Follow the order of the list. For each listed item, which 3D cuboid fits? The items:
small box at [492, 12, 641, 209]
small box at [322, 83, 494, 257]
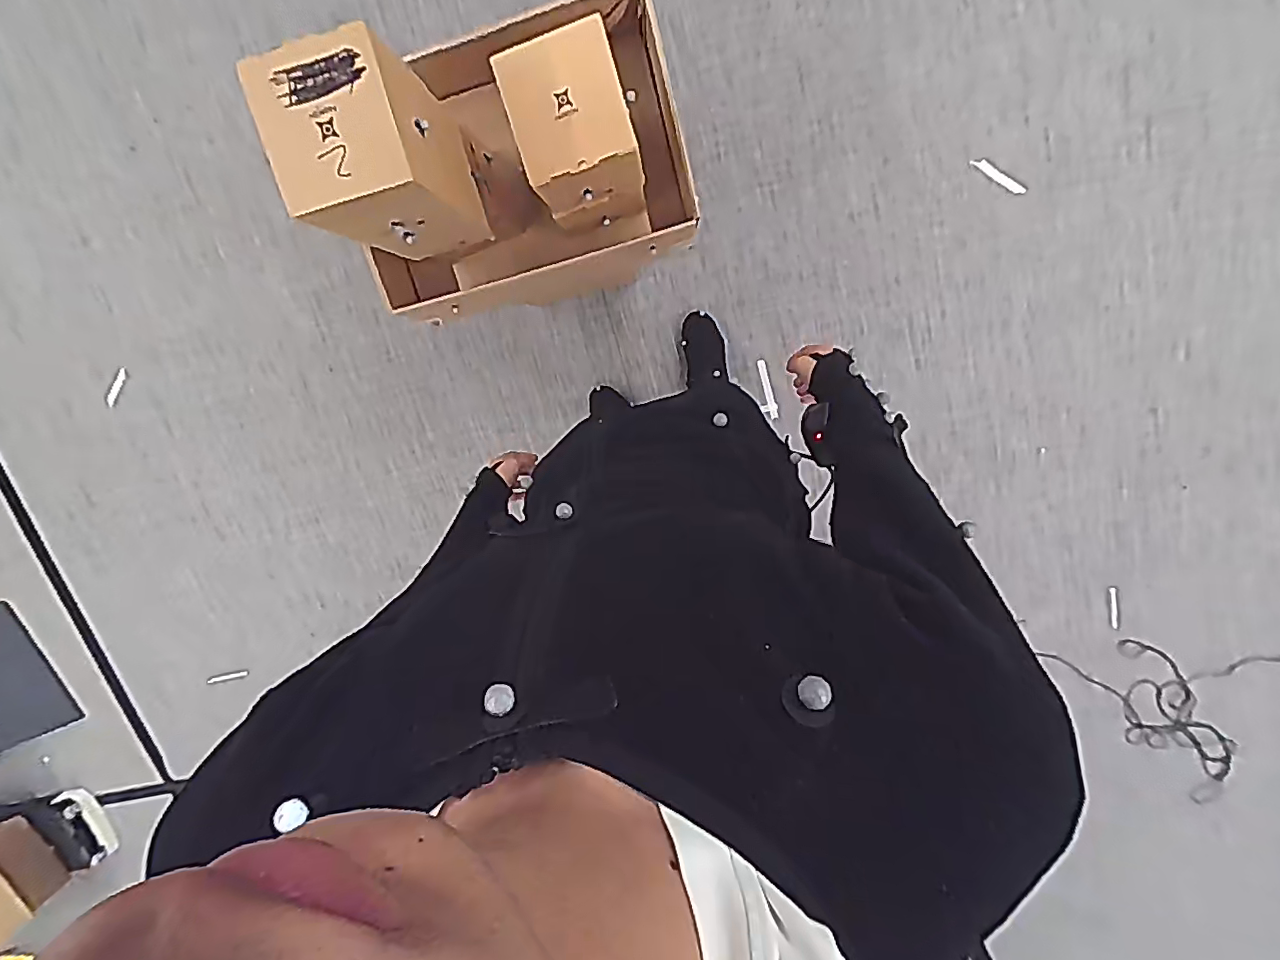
[{"bbox_3d":[-0.102,-0.550,0.834,0.168,0.176,0.179,-16,103,7],"label":"small box"},{"bbox_3d":[-0.358,-0.480,0.866,0.168,0.176,0.179,-13,101,7],"label":"small box"}]
